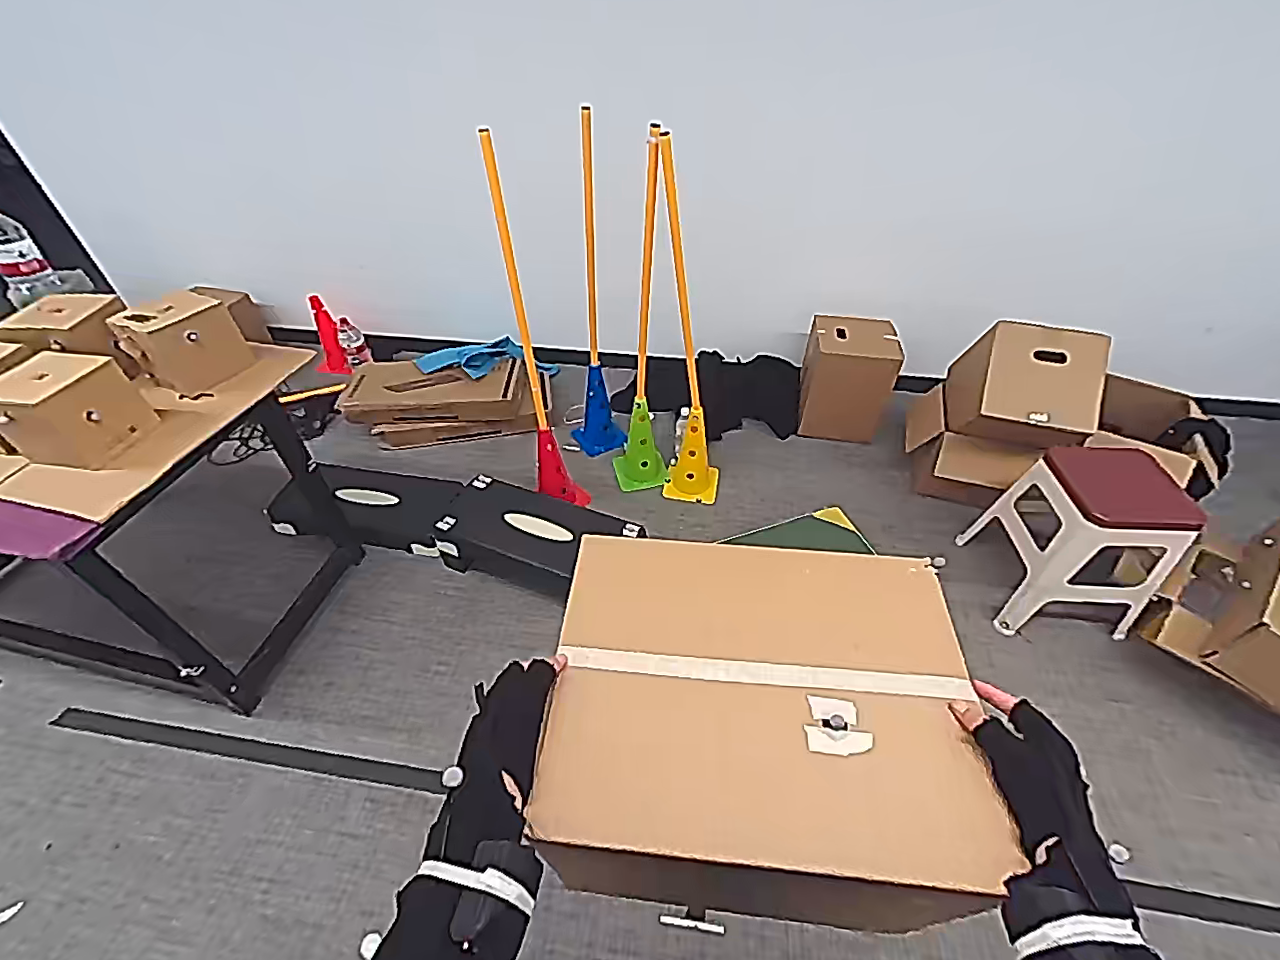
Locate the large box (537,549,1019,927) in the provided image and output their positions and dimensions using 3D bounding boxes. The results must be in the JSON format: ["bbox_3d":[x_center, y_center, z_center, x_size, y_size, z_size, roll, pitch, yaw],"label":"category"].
[{"bbox_3d":[0.122,0.307,0.652,0.408,0.320,0.320,4,47,5],"label":"large box"}]
